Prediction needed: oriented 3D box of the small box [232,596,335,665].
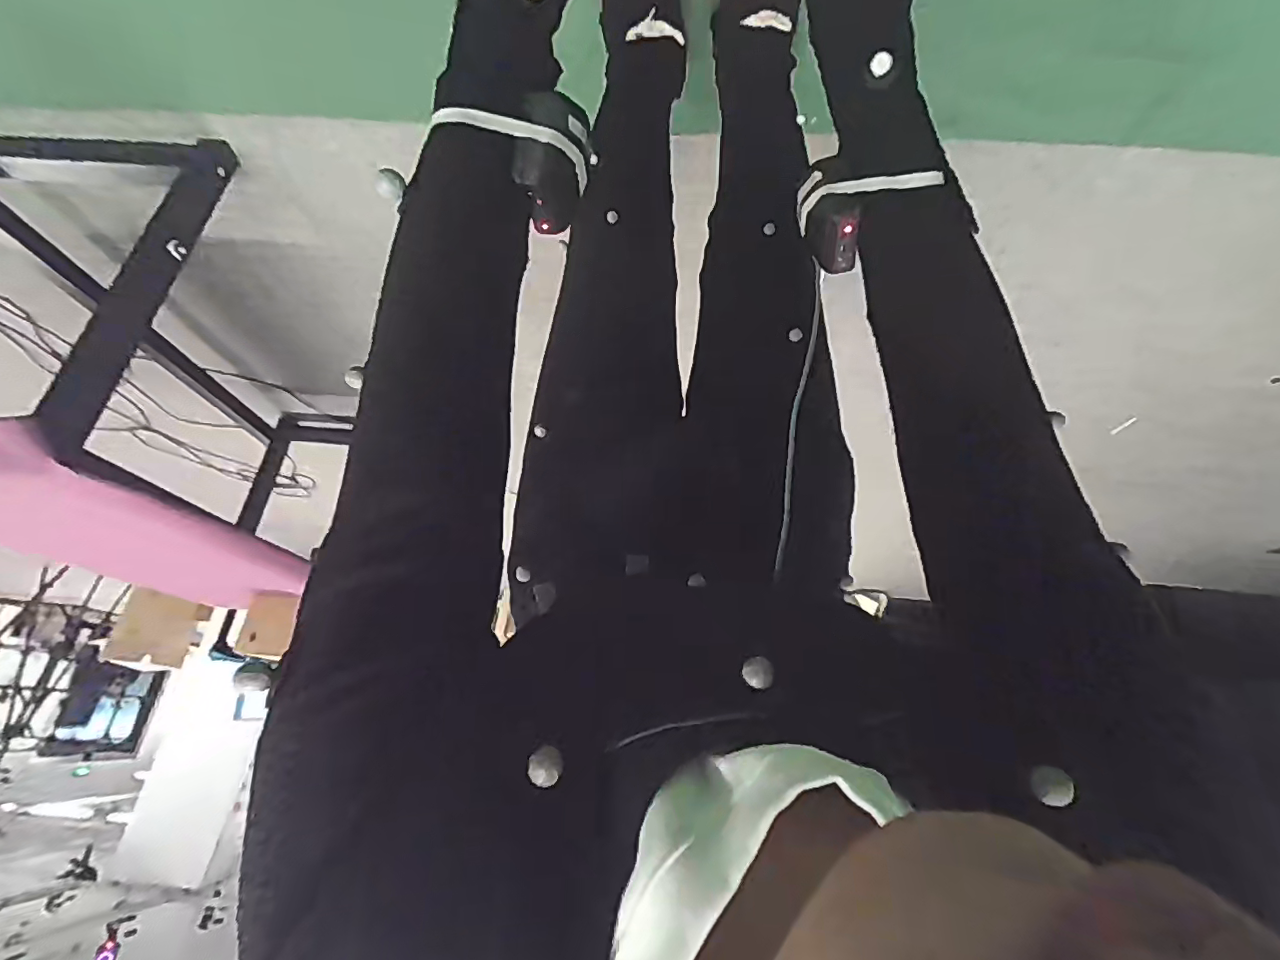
[{"bbox_3d":[-1.067,0.454,1.632,0.179,0.176,0.168,4,155,2],"label":"small box"}]
